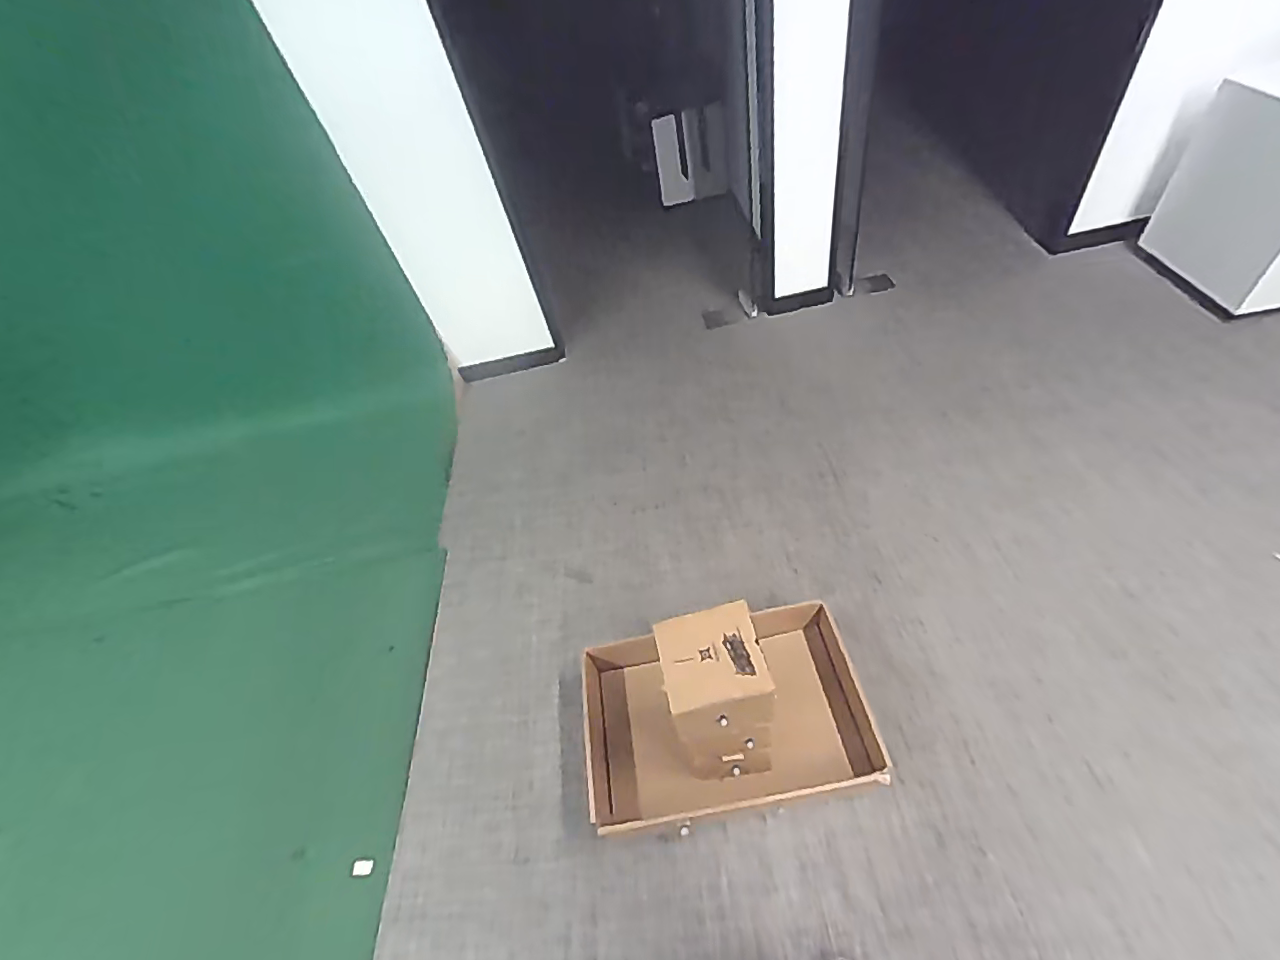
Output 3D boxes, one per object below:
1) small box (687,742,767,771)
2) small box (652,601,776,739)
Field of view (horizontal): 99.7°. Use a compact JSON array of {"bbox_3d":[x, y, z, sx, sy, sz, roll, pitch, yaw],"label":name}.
[{"bbox_3d":[0.192,0.552,1.236,0.168,0.176,0.179,-11,49,5],"label":"small box"},{"bbox_3d":[0.133,0.349,0.987,0.179,0.176,0.168,-16,49,-1],"label":"small box"}]
